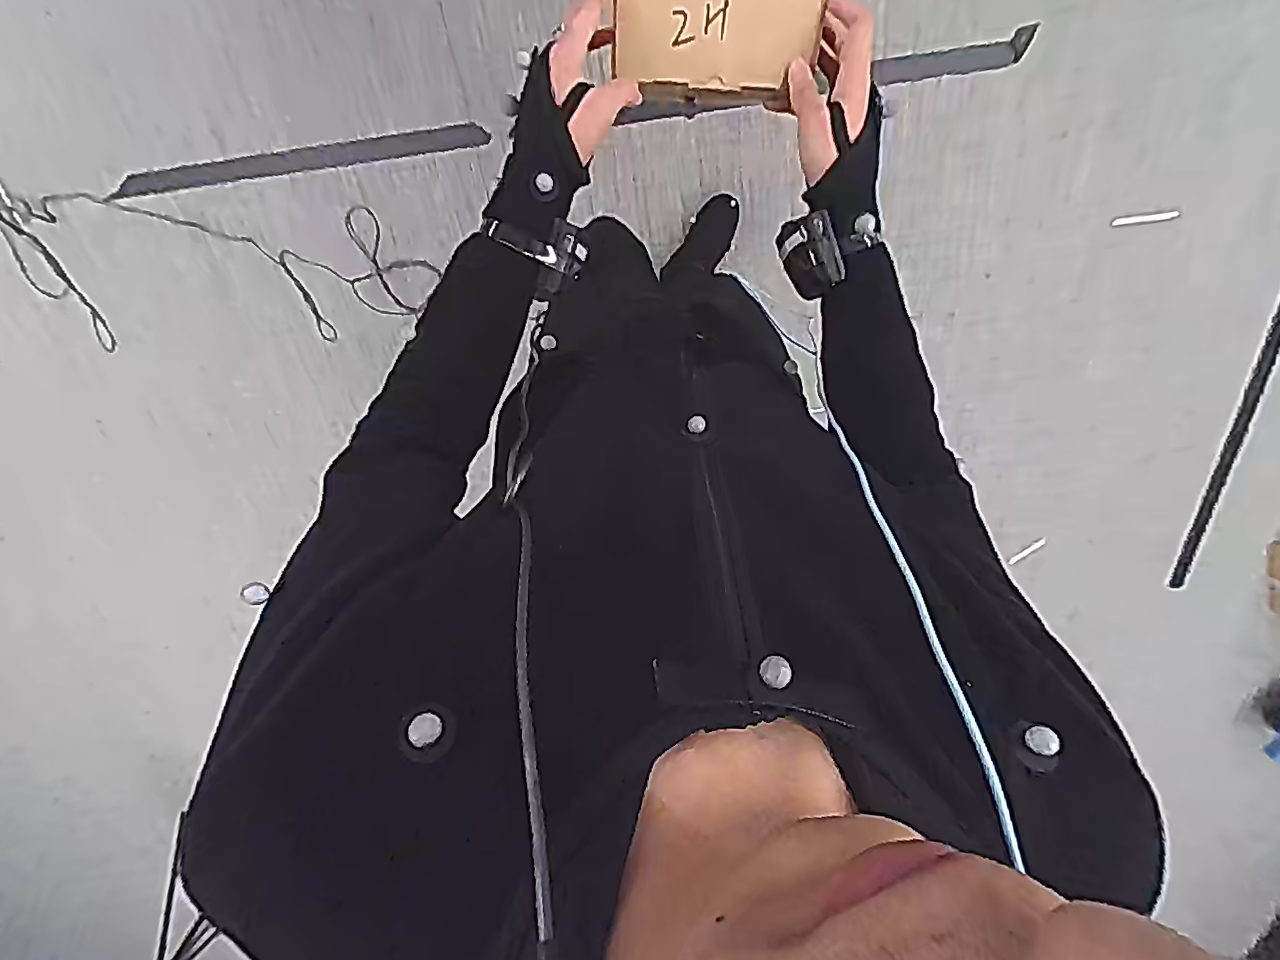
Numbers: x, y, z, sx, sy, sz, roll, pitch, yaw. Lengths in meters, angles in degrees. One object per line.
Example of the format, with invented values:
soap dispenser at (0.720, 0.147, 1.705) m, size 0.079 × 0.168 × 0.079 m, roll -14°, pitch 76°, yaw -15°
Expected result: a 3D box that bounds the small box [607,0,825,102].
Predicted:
small box at (0.057, -0.441, 0.464) m, size 0.168 × 0.176 × 0.179 m, roll 0°, pitch 122°, yaw -5°
